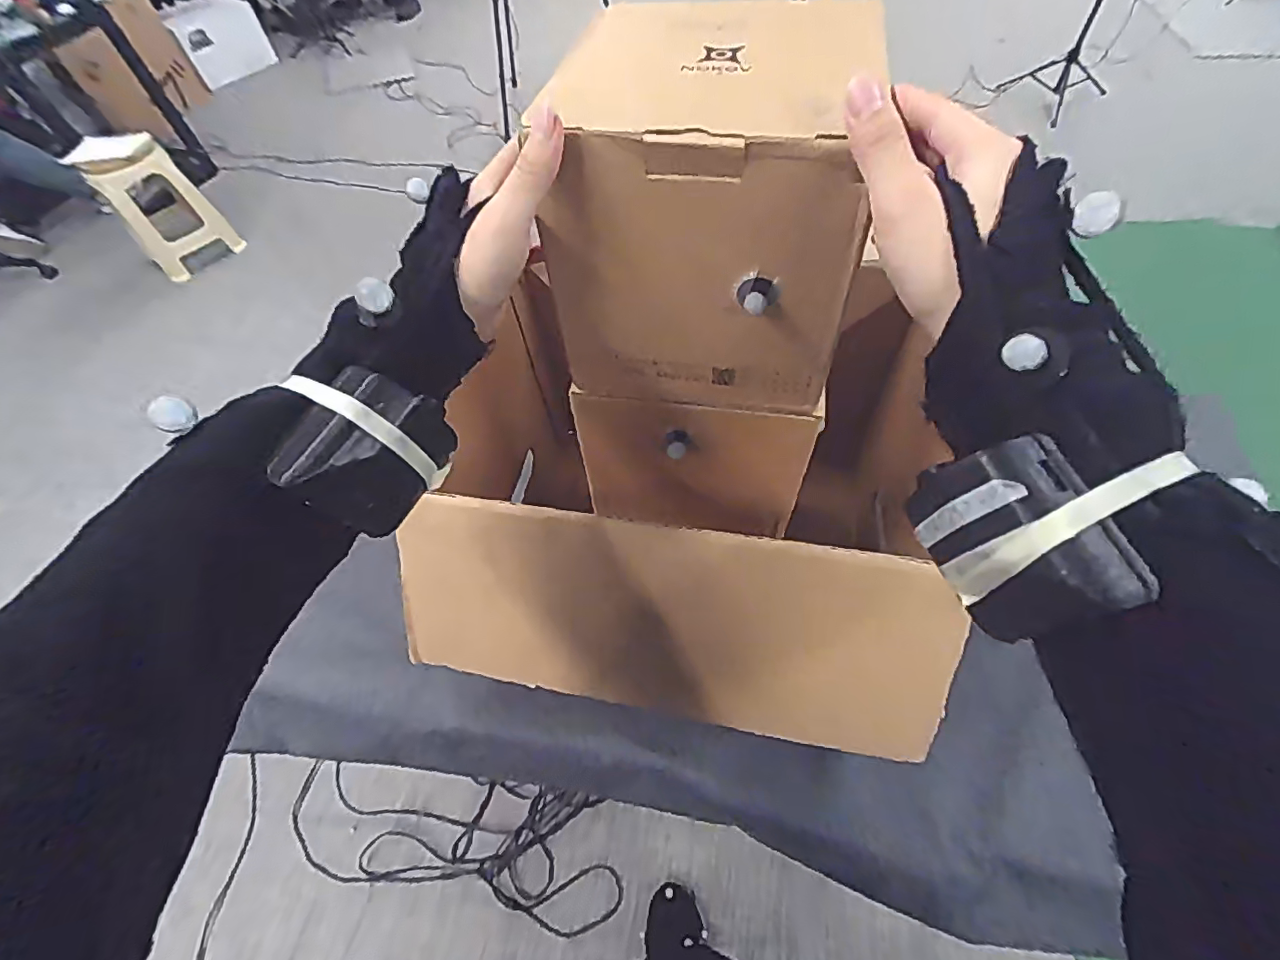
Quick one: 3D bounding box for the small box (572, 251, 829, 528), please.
[{"bbox_3d":[0.056,-0.073,0.473,0.179,0.176,0.168,7,55,9],"label":"small box"}]
